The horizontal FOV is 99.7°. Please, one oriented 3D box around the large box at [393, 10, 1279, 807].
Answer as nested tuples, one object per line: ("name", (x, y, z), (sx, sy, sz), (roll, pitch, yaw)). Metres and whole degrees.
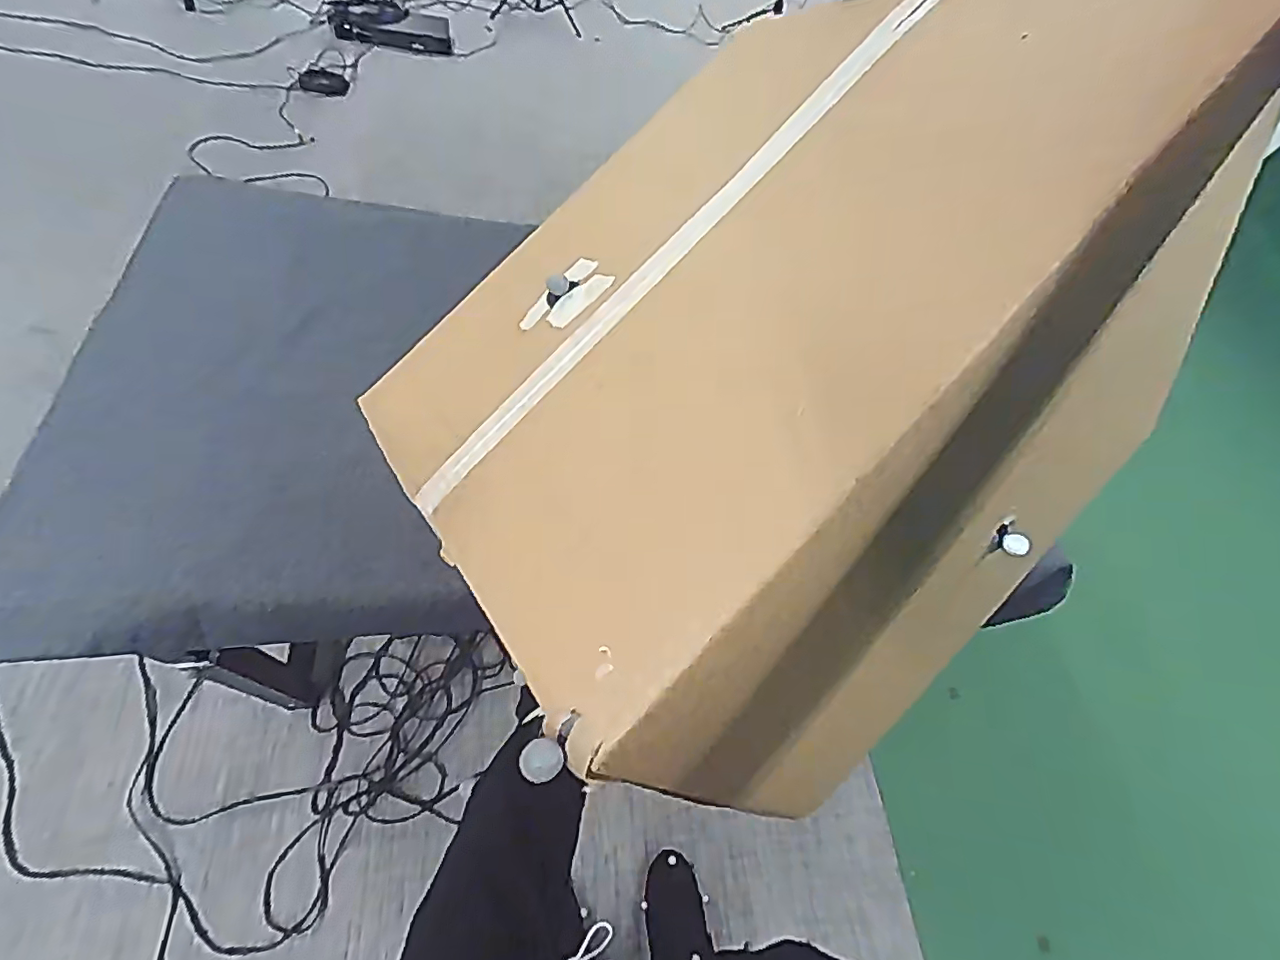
("large box", (0.111, -0.040, 0.411), (0.408, 0.320, 0.320), (-47, 47, -5))
